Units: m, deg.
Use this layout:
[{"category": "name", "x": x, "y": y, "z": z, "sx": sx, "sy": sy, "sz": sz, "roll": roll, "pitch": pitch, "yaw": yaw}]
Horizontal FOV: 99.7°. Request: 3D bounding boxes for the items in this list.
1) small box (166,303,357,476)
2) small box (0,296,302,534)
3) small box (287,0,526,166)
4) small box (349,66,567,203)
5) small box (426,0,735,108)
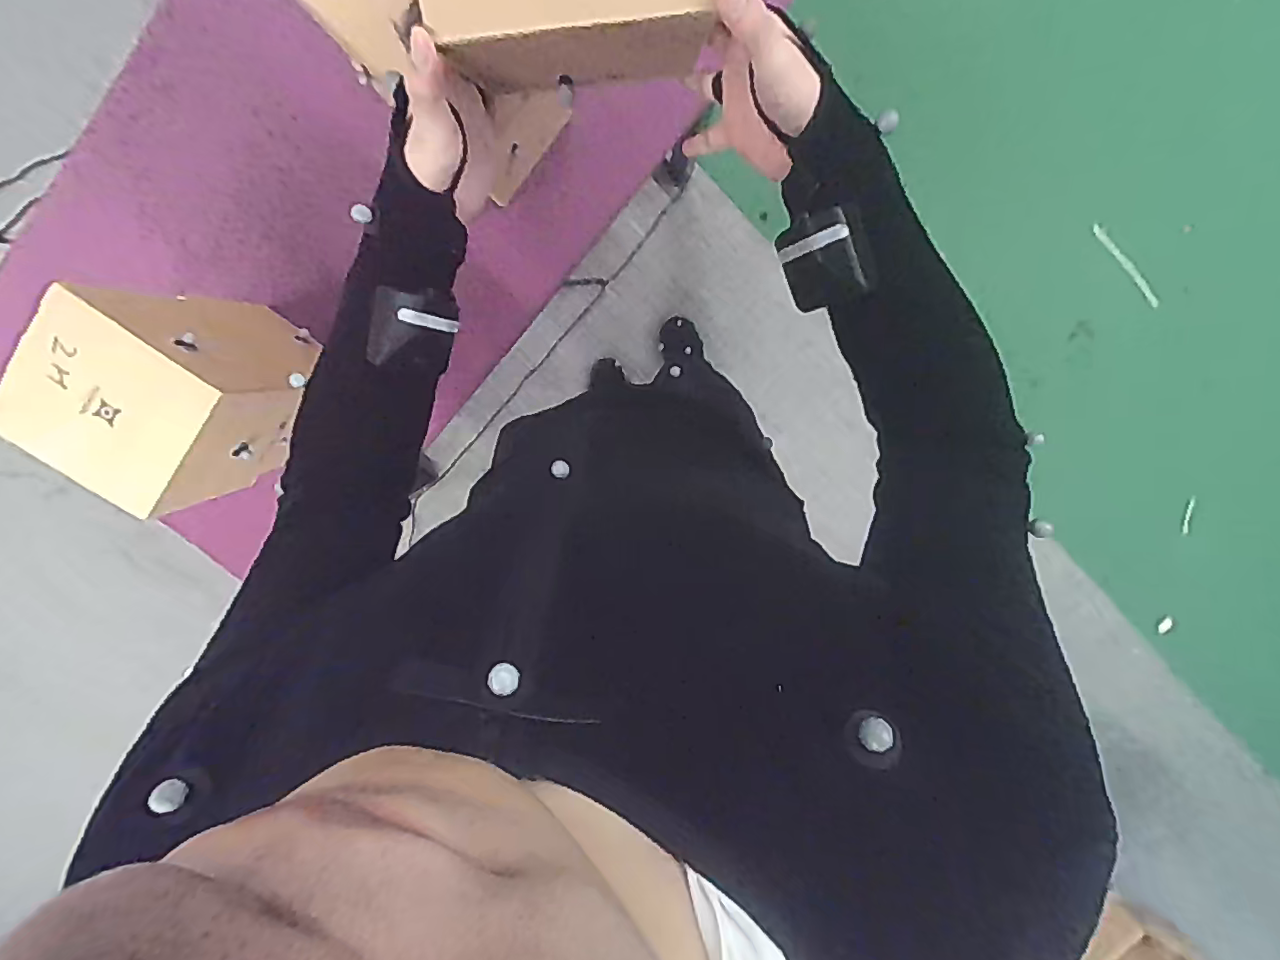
[{"category": "small box", "x": -0.543, "y": -0.118, "z": 0.753, "sx": 0.179, "sy": 0.176, "sz": 0.168, "roll": 36, "pitch": 99, "yaw": -8}, {"category": "small box", "x": -0.524, "y": -0.074, "z": 0.594, "sx": 0.179, "sy": 0.176, "sz": 0.168, "roll": 37, "pitch": 98, "yaw": -9}, {"category": "small box", "x": -0.203, "y": -0.444, "z": 0.527, "sx": 0.179, "sy": 0.176, "sz": 0.168, "roll": 43, "pitch": 98, "yaw": -7}, {"category": "small box", "x": -0.212, "y": -0.484, "z": 0.687, "sx": 0.179, "sy": 0.176, "sz": 0.168, "roll": 39, "pitch": 99, "yaw": -7}, {"category": "small box", "x": -0.039, "y": -0.349, "z": 0.326, "sx": 0.168, "sy": 0.176, "sz": 0.179, "roll": -5, "pitch": 117, "yaw": 0}]
